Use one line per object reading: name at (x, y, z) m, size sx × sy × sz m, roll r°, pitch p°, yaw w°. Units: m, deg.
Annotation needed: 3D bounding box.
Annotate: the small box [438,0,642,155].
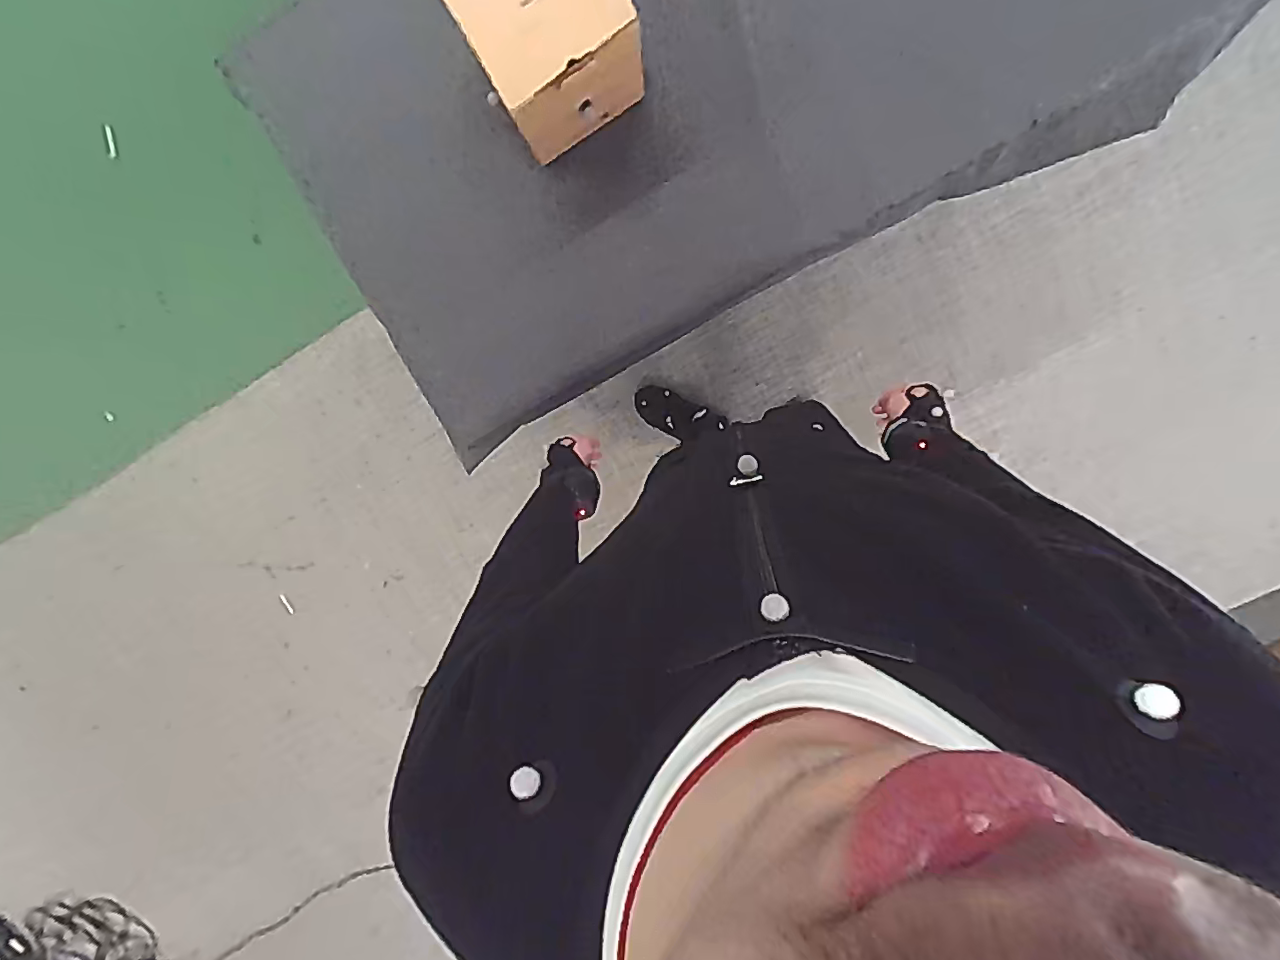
small box at (-0.110, -0.526, 0.646) m, size 0.168 × 0.176 × 0.179 m, roll -33°, pitch 98°, yaw 10°
